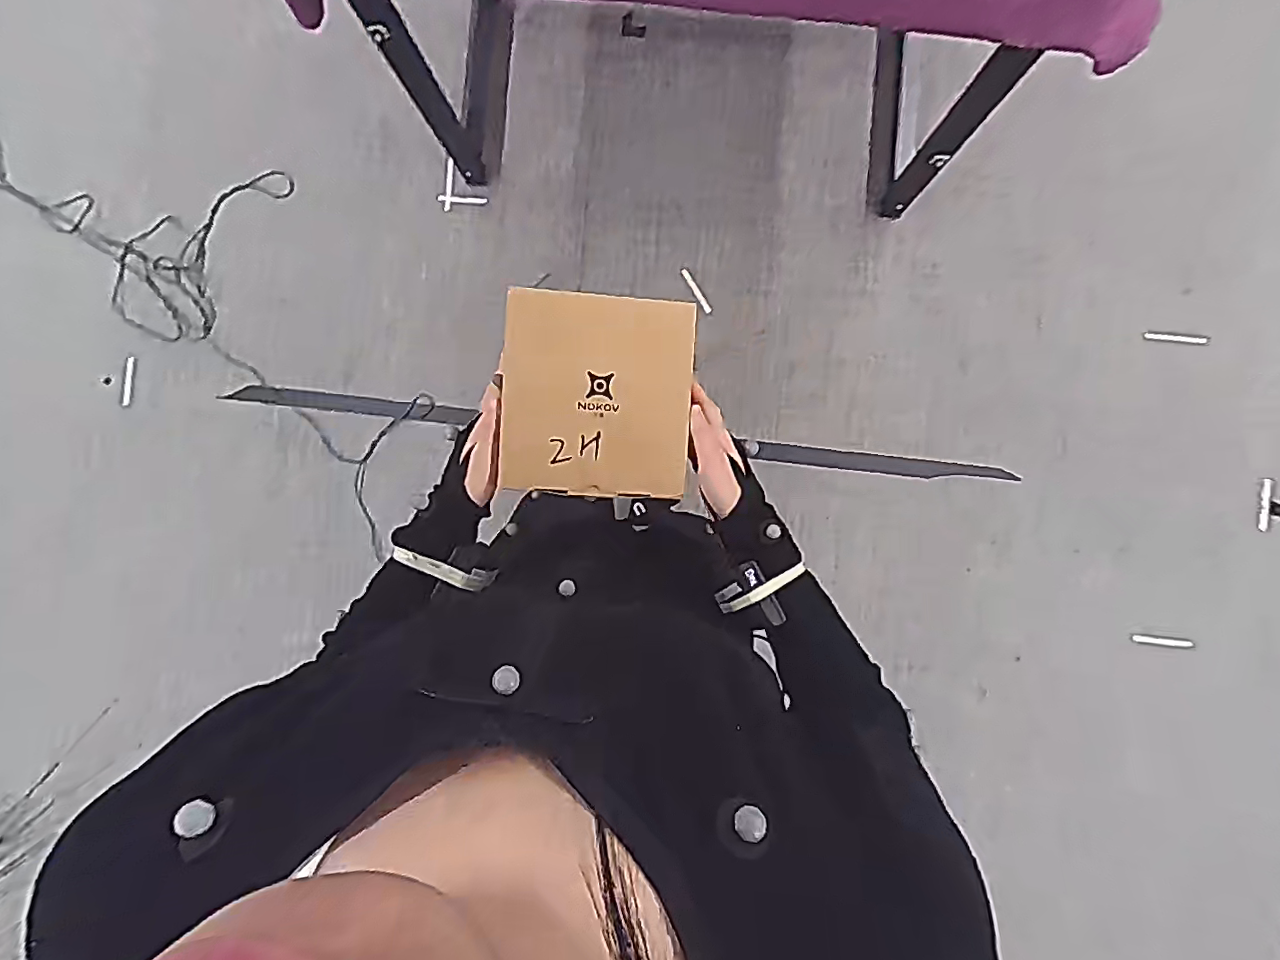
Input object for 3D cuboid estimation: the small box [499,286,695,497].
[{"bbox_3d":[-0.045,-0.077,0.552,0.168,0.176,0.179,3,91,-6],"label":"small box"}]
